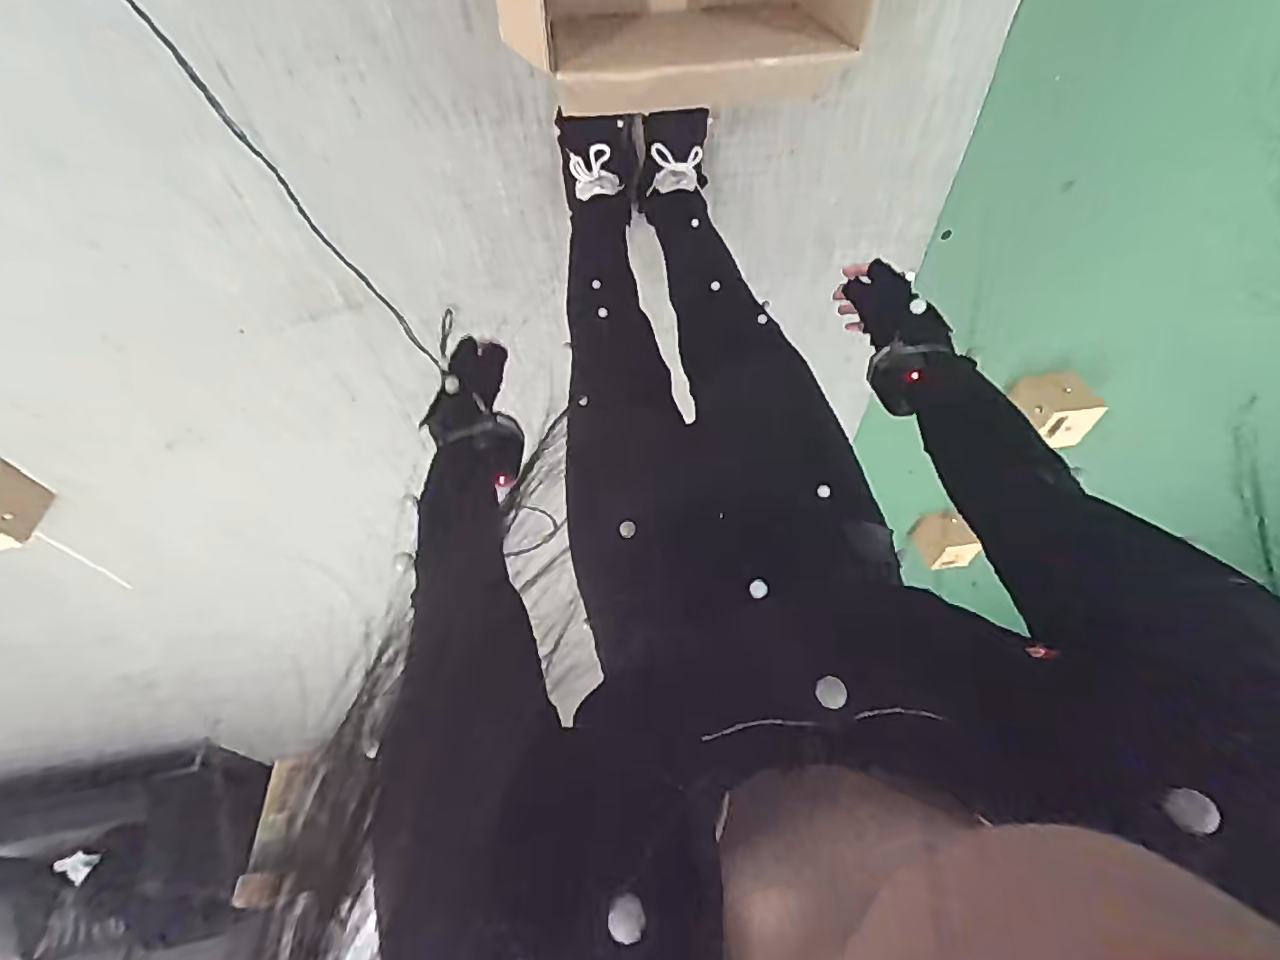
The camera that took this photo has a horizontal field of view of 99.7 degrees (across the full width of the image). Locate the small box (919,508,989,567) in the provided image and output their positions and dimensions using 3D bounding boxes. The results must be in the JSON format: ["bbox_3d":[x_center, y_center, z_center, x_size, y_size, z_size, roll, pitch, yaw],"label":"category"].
[{"bbox_3d":[1.284,0.238,2.232,0.168,0.176,0.179,-7,141,-4],"label":"small box"}]

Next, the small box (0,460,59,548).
[{"bbox_3d":[-1.669,0.060,1.372,0.168,0.176,0.179,-10,142,-2],"label":"small box"}]
